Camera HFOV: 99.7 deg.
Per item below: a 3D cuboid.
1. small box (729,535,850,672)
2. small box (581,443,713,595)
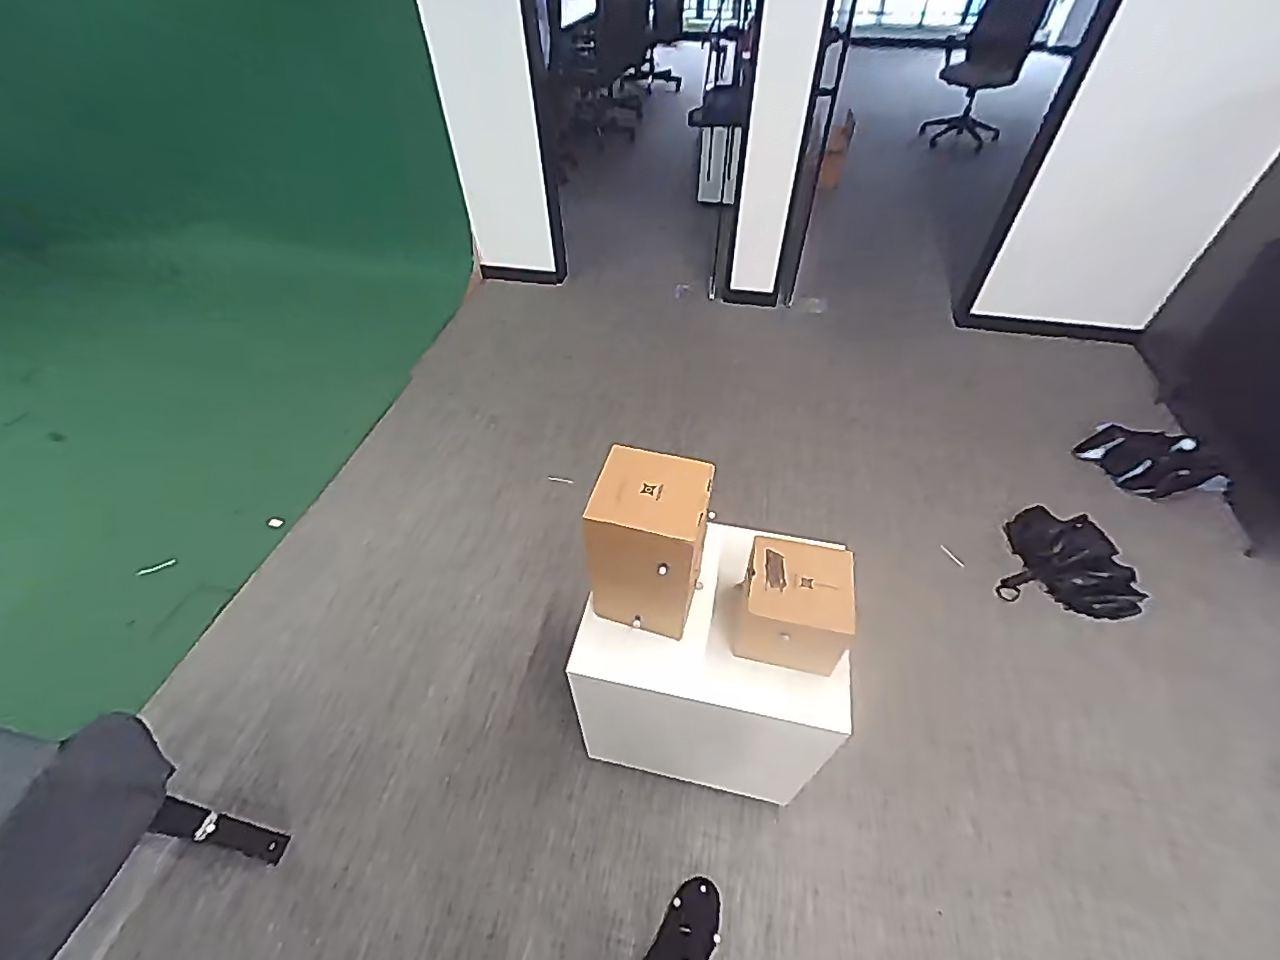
[{"bbox_3d":[0.264,0.226,0.979,0.179,0.176,0.168,11,48,6],"label":"small box"},{"bbox_3d":[0.012,0.068,0.890,0.179,0.176,0.168,11,47,8],"label":"small box"}]
